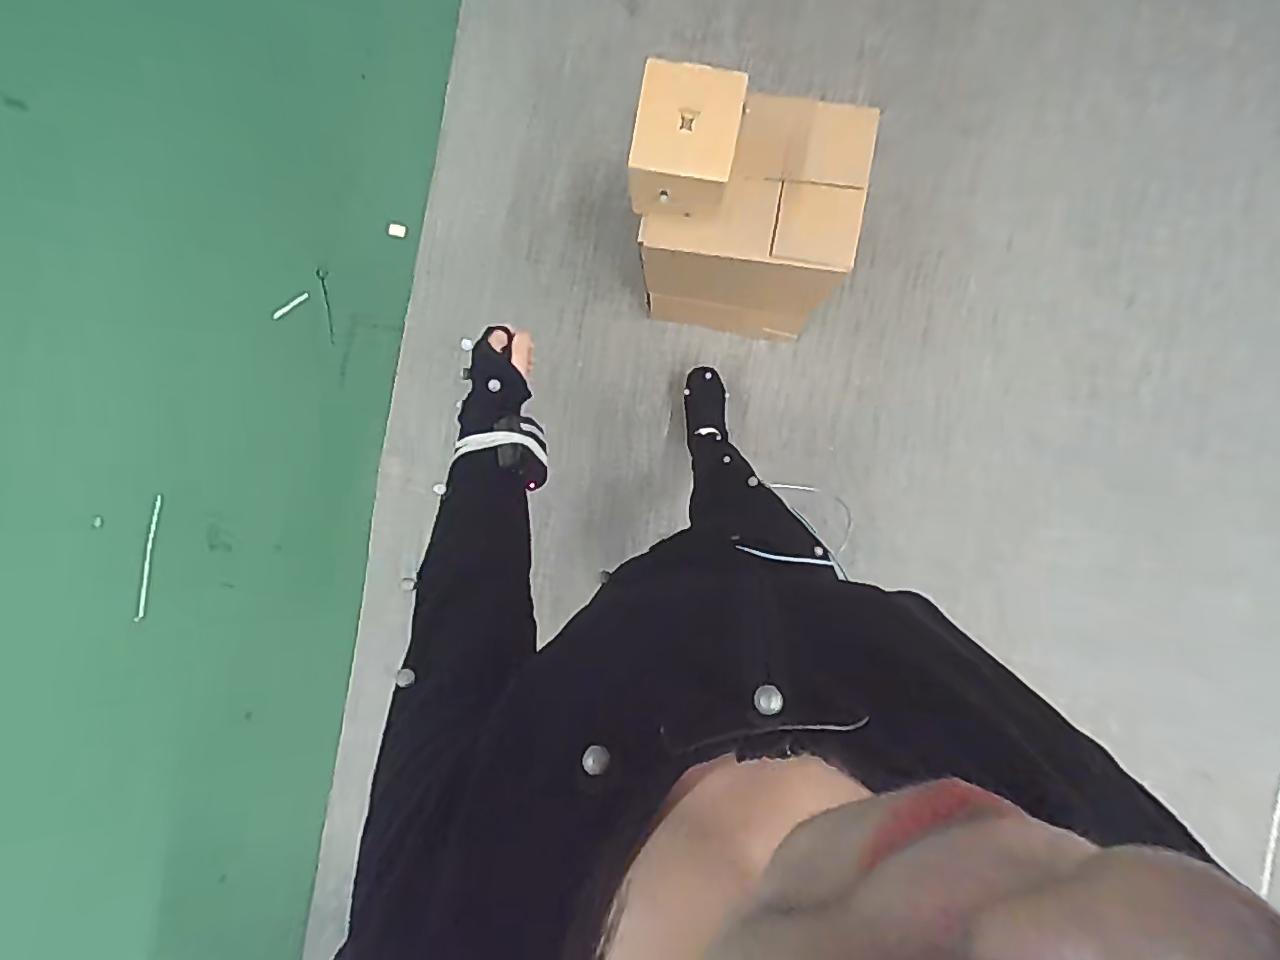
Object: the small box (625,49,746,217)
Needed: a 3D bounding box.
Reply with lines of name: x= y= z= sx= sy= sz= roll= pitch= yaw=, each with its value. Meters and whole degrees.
small box: x=0.075 y=-0.581 z=0.930 sx=0.168 sy=0.176 sz=0.179 roll=11 pitch=93 yaw=2
